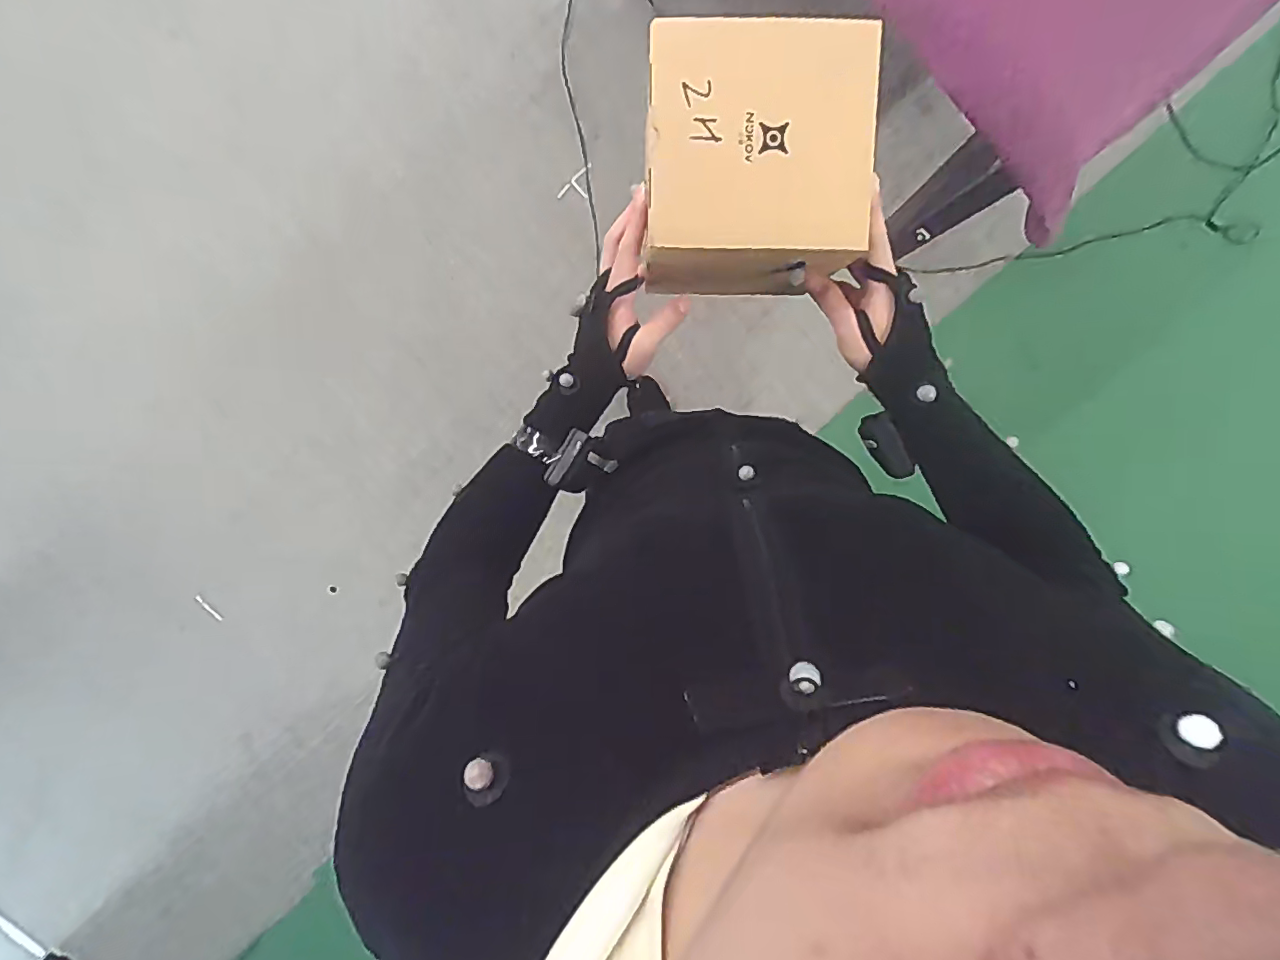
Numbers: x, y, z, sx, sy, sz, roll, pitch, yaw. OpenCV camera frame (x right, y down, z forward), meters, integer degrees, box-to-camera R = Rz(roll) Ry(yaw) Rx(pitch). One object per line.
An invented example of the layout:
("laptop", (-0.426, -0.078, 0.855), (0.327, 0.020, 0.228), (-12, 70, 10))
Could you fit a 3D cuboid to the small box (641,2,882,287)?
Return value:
("small box", (0.091, -0.278, 0.488), (0.179, 0.176, 0.168), (1, 97, 1))
